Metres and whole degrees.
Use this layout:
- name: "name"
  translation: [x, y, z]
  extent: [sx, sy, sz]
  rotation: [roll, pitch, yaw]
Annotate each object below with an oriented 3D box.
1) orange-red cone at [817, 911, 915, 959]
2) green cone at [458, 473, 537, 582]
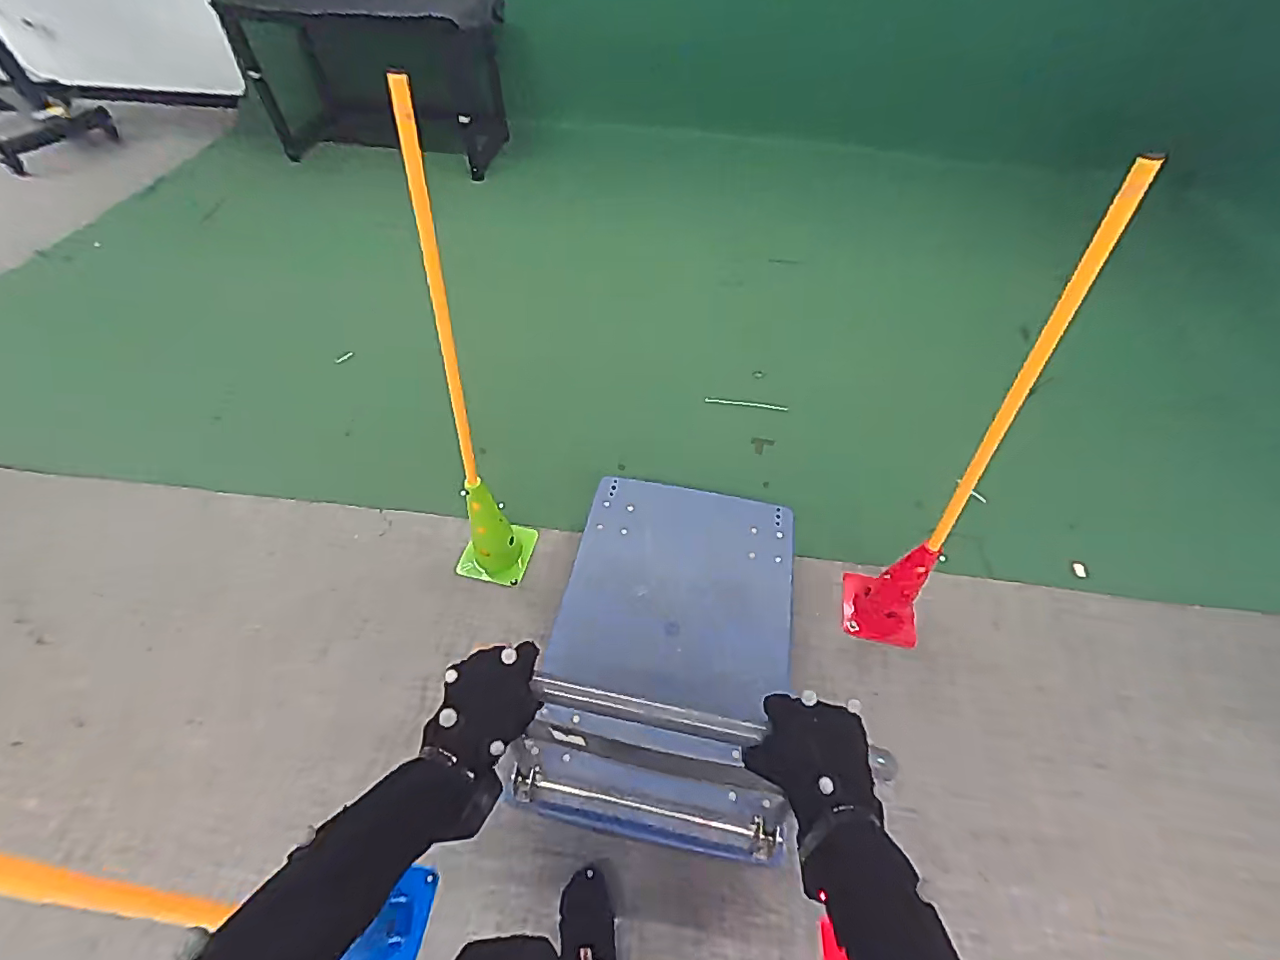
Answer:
- name: "orange-red cone"
  translation: [0.458, 0.895, 0.948]
  extent: [0.199, 0.360, 0.198]
  rotation: [5, 52, 5]
- name: "green cone"
  translation: [-0.431, 0.106, 1.521]
  extent: [0.202, 0.368, 0.200]
  rotation: [10, 52, 7]
